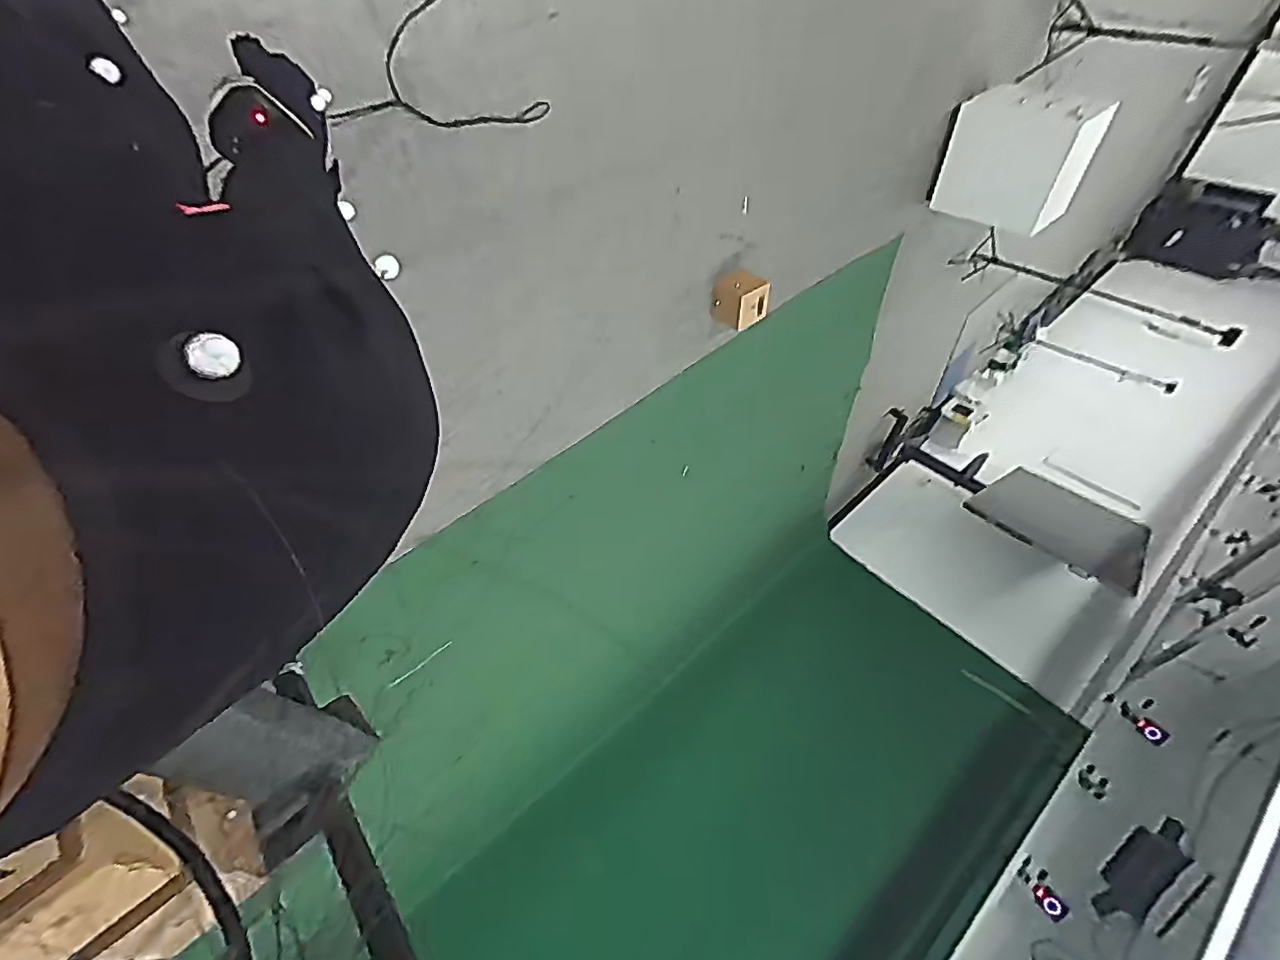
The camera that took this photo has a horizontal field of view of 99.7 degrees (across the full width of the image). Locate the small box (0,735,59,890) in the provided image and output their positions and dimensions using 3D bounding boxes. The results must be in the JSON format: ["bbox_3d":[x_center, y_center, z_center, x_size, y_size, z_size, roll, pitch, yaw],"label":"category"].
[{"bbox_3d":[-0.846,0.407,0.622,0.179,0.176,0.168,-35,145,-20],"label":"small box"}]
